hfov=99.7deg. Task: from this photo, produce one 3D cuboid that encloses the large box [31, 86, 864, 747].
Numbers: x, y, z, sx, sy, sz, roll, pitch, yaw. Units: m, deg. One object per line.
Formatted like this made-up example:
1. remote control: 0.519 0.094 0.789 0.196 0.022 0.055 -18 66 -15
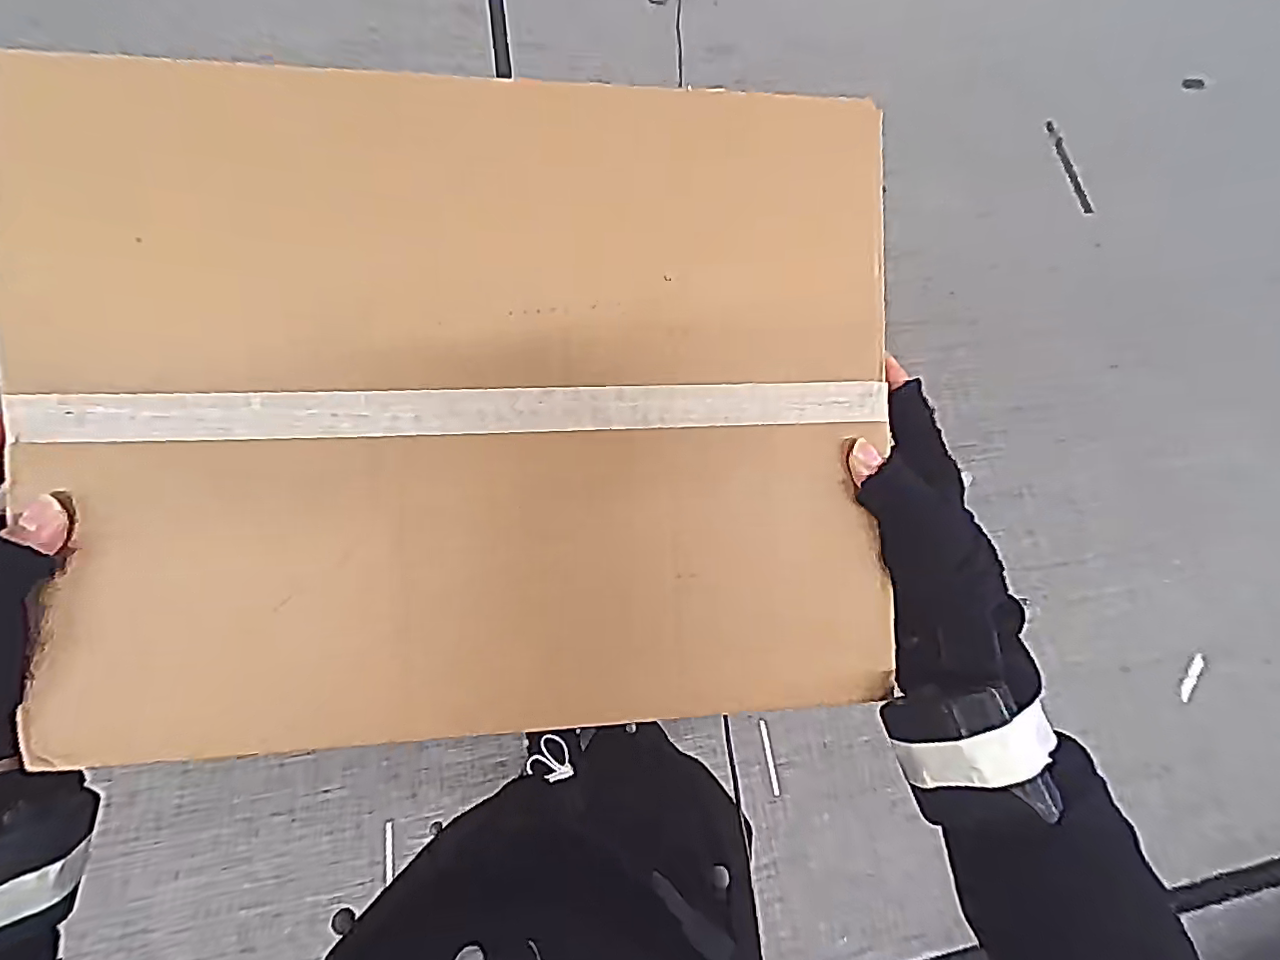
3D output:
1. large box: -0.093 -0.038 0.420 0.408 0.320 0.320 -1 90 -7
